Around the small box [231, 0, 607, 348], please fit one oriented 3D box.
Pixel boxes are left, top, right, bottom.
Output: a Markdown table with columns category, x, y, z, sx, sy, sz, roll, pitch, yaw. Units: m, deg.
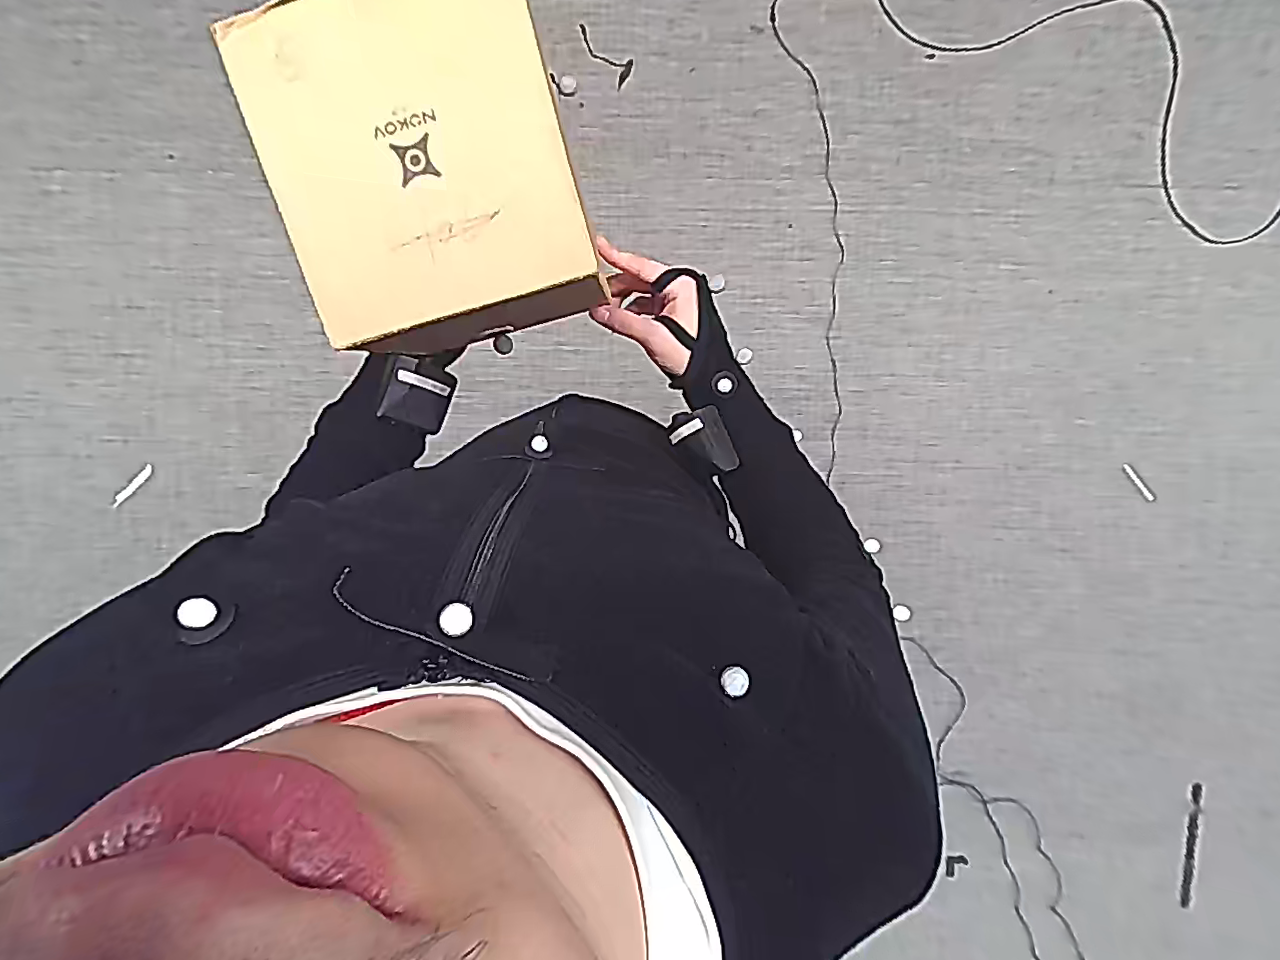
| category | x | y | z | sx | sy | sz | roll | pitch | yaw |
| --- | --- | --- | --- | --- | --- | --- | --- | --- | --- |
| small box | -0.125 | -0.200 | 0.386 | 0.168 | 0.176 | 0.179 | -14 | 102 | 3 |
